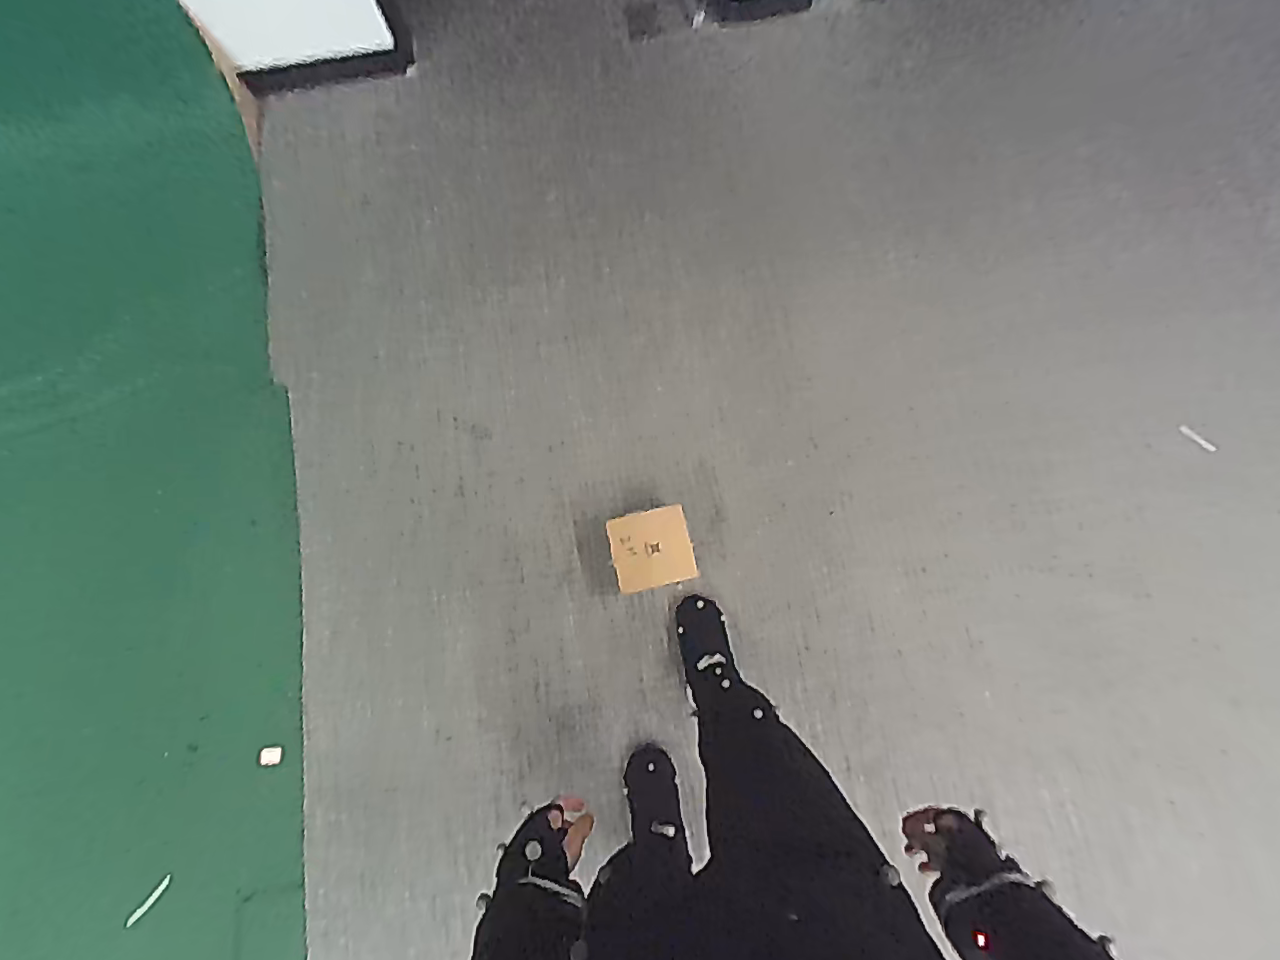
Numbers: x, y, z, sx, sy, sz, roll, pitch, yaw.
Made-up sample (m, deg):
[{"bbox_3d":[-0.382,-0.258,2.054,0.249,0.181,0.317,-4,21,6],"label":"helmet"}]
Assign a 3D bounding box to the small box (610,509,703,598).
[{"bbox_3d":[0.034,0.171,1.249,0.179,0.176,0.168,-13,79,-2],"label":"small box"}]
